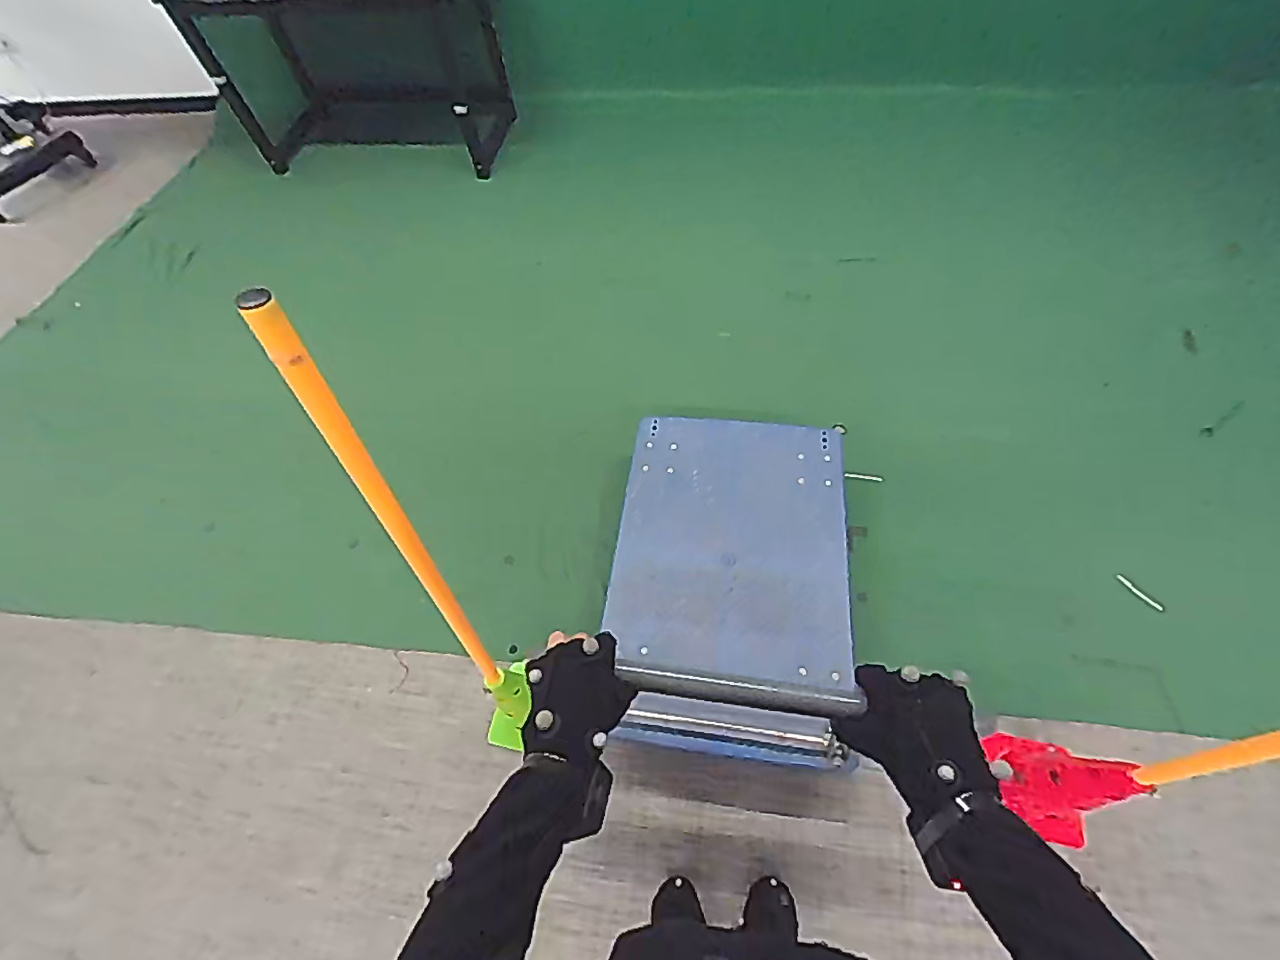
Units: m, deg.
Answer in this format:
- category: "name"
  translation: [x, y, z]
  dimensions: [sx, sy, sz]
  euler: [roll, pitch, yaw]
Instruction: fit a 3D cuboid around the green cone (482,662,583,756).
- category: "green cone"
  translation: [-0.274, 0.481, 1.222]
  dimensions: [0.202, 0.368, 0.200]
  euler: [7, 58, 11]
